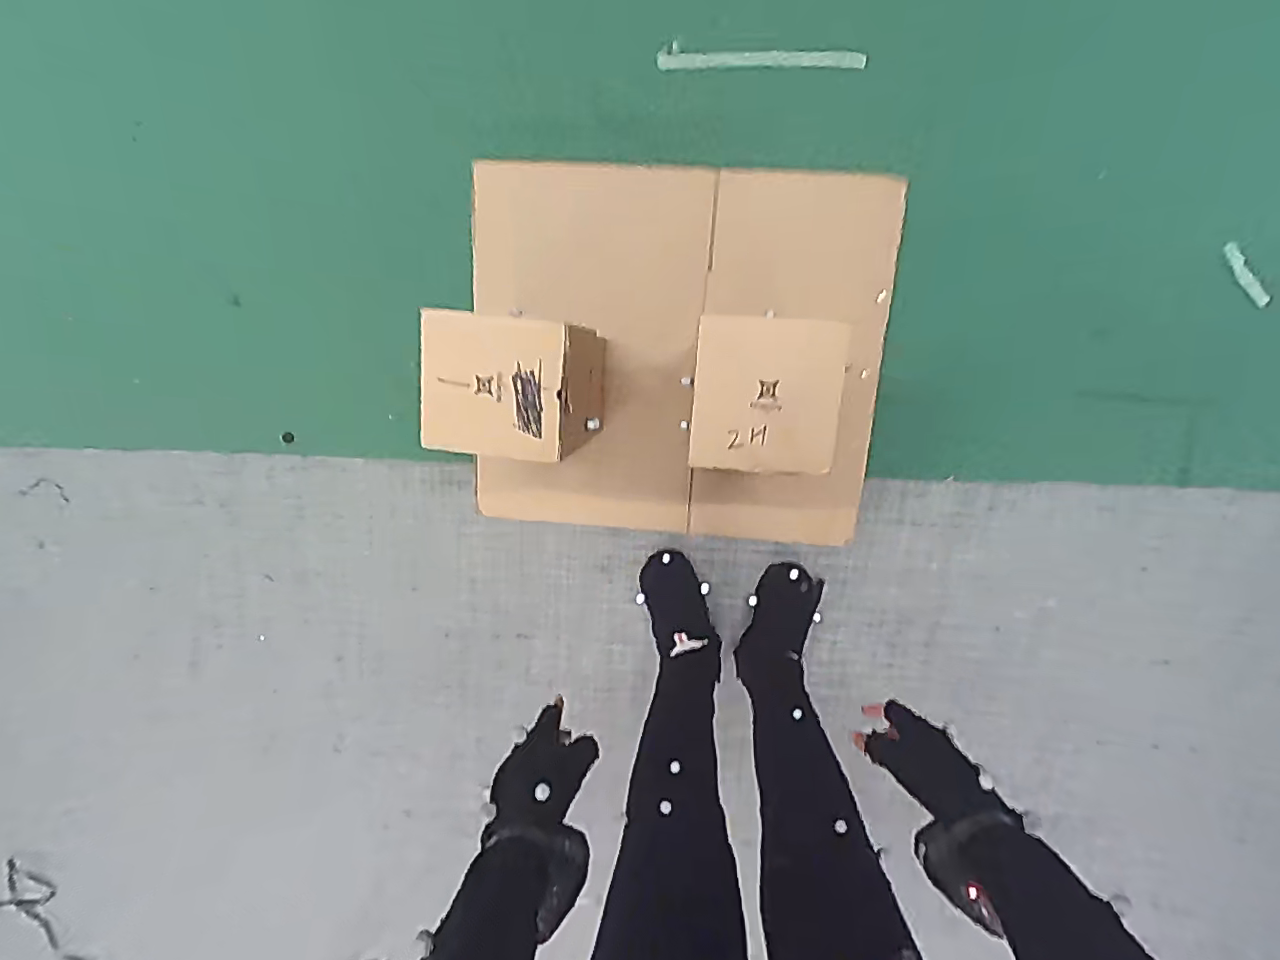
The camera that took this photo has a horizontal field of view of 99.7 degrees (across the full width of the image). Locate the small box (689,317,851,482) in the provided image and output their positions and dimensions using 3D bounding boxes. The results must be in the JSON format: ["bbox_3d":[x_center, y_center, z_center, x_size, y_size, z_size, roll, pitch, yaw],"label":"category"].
[{"bbox_3d":[0.151,-0.105,0.689,0.168,0.176,0.179,5,103,5],"label":"small box"}]

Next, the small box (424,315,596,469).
[{"bbox_3d":[-0.161,-0.119,0.713,0.179,0.176,0.168,7,103,6],"label":"small box"}]
